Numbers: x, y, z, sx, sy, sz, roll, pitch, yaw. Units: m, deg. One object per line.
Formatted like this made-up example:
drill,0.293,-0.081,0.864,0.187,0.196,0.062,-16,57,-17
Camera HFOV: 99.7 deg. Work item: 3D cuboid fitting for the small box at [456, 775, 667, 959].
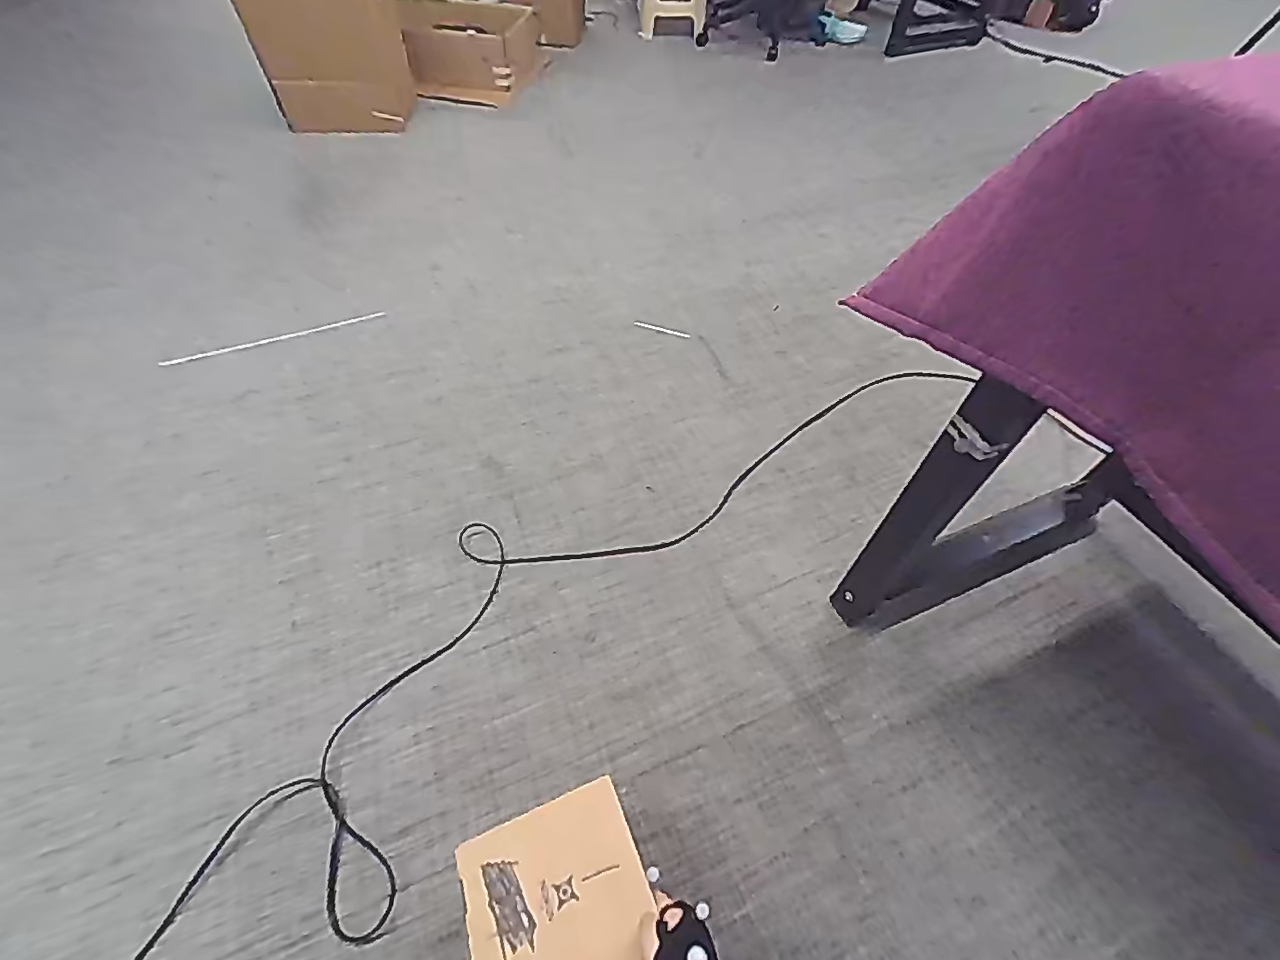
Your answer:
small box,-0.079,0.464,0.592,0.179,0.176,0.168,-19,49,-15
